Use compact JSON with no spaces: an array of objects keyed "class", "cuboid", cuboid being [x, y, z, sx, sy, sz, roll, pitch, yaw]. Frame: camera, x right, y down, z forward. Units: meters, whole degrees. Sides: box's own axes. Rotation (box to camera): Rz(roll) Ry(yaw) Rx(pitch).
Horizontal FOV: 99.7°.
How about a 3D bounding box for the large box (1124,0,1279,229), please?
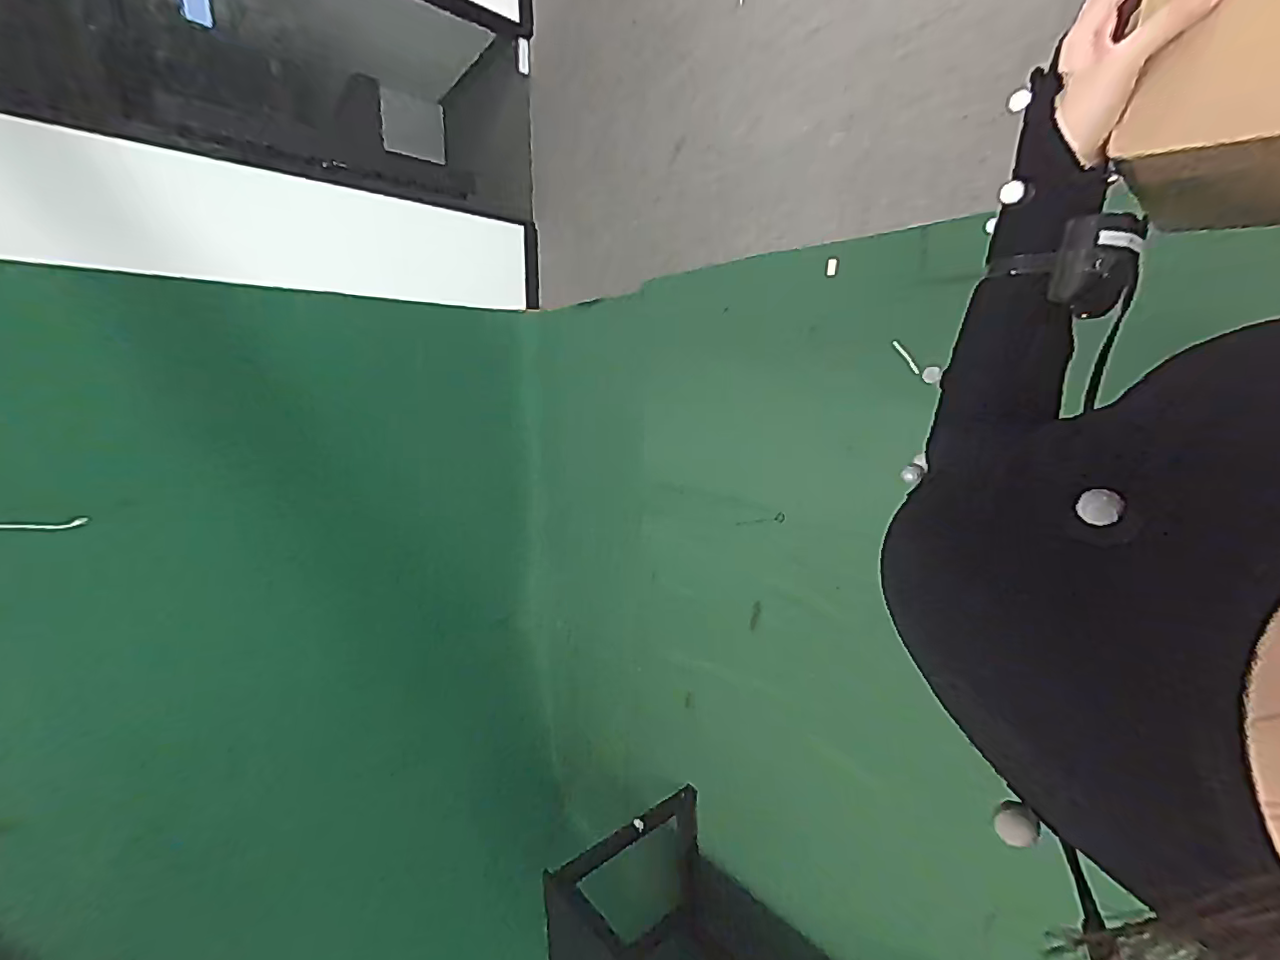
[{"class":"large box","cuboid":[0.582,-0.355,0.301,0.408,0.320,0.320,17,111,45]}]
